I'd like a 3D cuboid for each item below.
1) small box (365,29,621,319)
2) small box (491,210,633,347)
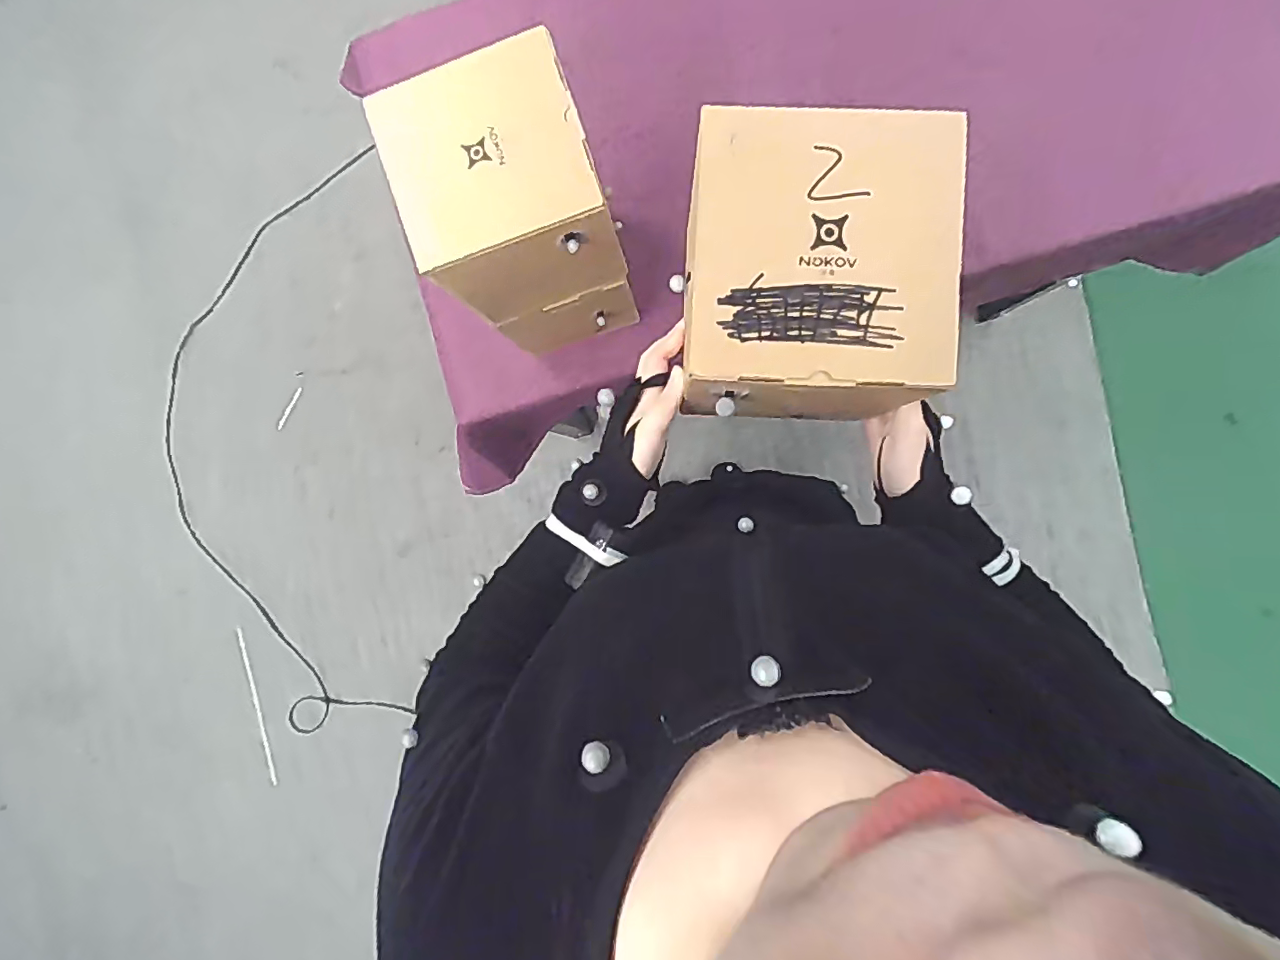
[{"bbox_3d":[-0.131,-0.284,0.547,0.179,0.176,0.168,-19,90,4],"label":"small box"},{"bbox_3d":[-0.113,-0.287,0.708,0.168,0.176,0.179,-17,89,4],"label":"small box"}]
